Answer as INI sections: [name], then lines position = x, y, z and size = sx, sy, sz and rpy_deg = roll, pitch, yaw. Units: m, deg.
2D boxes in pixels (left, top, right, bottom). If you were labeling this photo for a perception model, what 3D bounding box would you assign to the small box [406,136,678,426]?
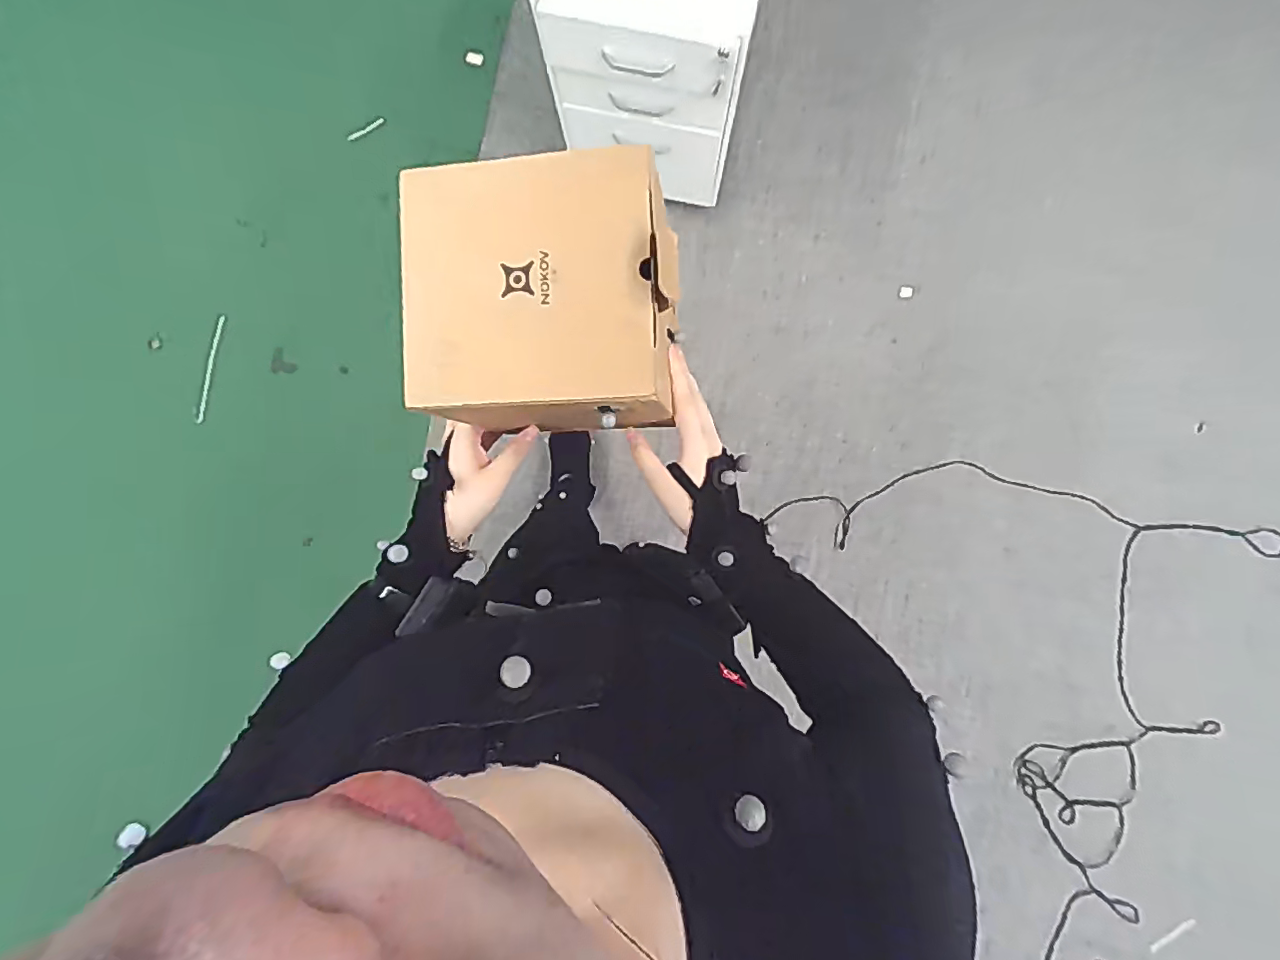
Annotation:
[small box]
position = -0.064, -0.137, 0.439
size = 0.179, 0.176, 0.168
rpy_deg = -2, 88, 7
